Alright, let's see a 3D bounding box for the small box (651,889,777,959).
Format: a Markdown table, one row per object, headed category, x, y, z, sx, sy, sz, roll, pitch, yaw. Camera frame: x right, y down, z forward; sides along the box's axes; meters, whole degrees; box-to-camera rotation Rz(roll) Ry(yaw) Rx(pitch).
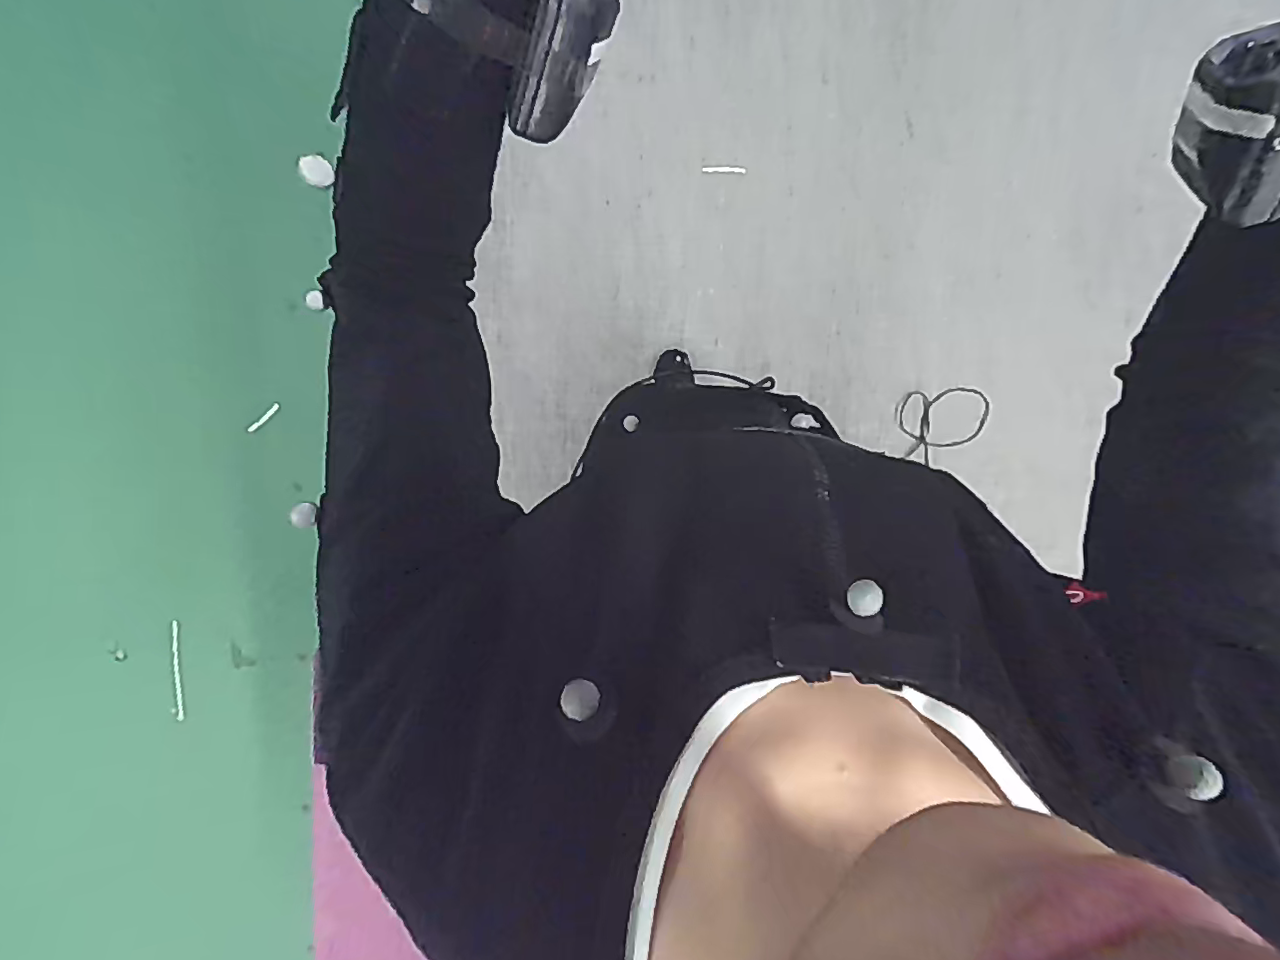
| category | x | y | z | sx | sy | sz | roll | pitch | yaw |
| --- | --- | --- | --- | --- | --- | --- | --- | --- | --- |
| small box | 0.101 | 0.727 | 0.750 | 0.168 | 0.176 | 0.179 | 8 | 98 | 1 |
